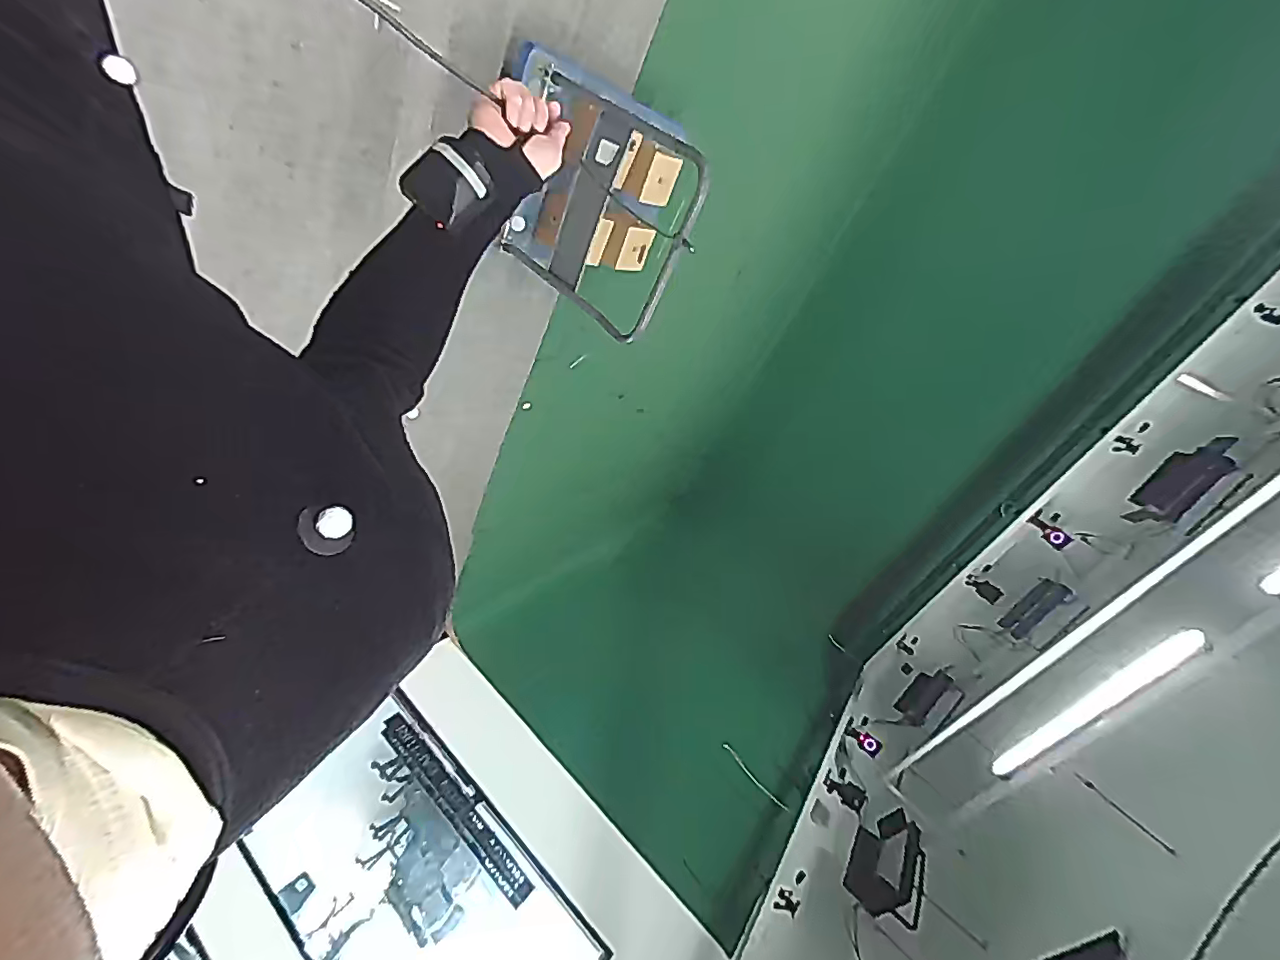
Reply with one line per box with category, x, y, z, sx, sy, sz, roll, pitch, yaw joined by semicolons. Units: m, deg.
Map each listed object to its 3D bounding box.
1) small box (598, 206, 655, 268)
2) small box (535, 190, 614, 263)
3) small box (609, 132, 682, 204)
small box;-0.077;-0.940;2.095;0.179;0.176;0.168;-24;147;-49
small box;-0.230;-0.880;1.880;0.179;0.176;0.168;-20;145;-53
small box;0.015;-1.126;1.953;0.179;0.176;0.168;-25;150;-50
